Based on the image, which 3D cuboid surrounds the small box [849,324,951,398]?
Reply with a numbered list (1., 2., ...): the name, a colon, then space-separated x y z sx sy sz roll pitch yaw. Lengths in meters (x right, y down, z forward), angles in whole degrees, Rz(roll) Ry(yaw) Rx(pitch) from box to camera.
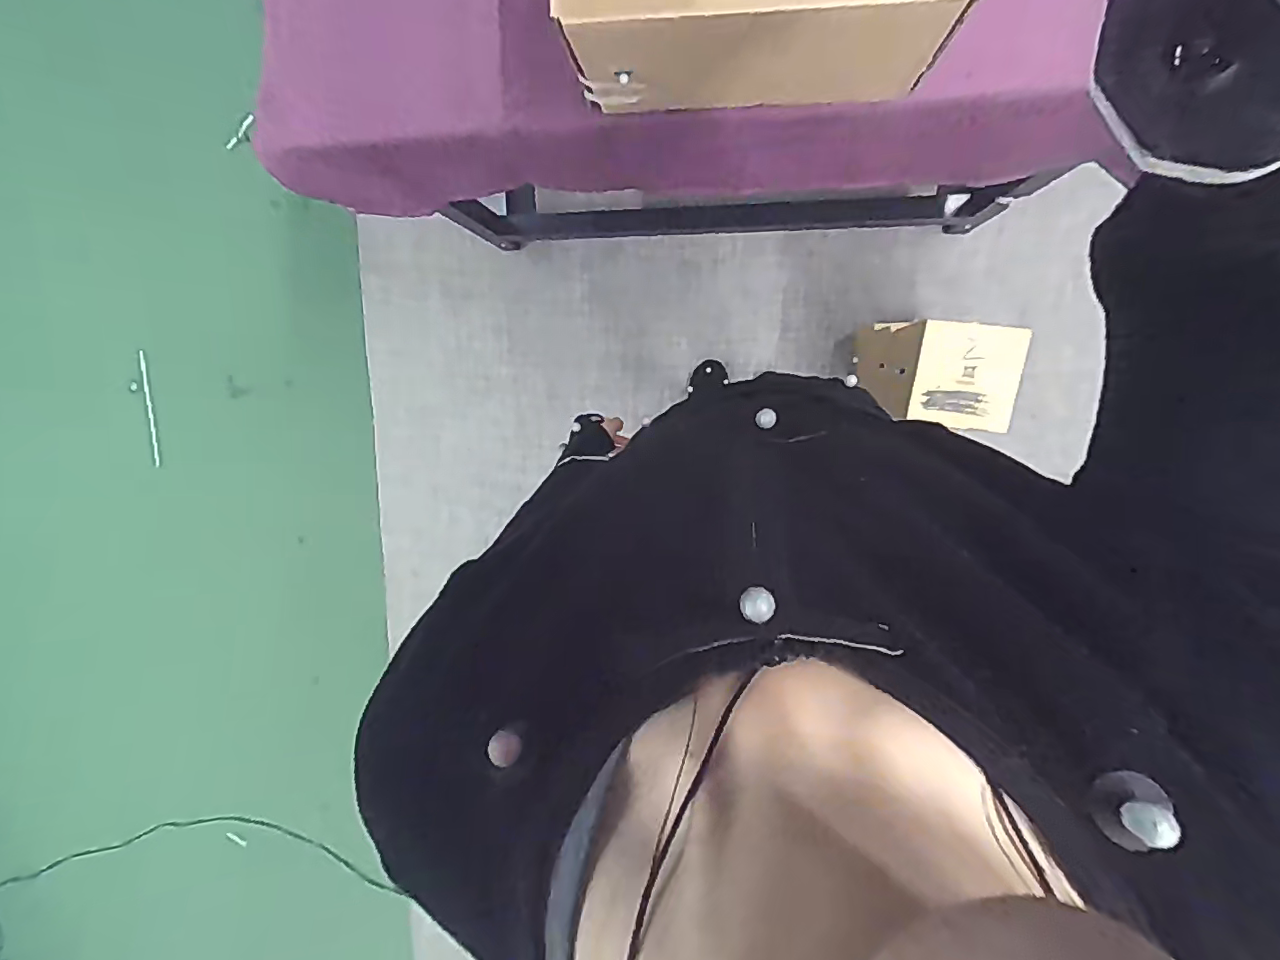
1. small box: 0.617 -0.285 1.301 0.179 0.176 0.168 1 100 10
